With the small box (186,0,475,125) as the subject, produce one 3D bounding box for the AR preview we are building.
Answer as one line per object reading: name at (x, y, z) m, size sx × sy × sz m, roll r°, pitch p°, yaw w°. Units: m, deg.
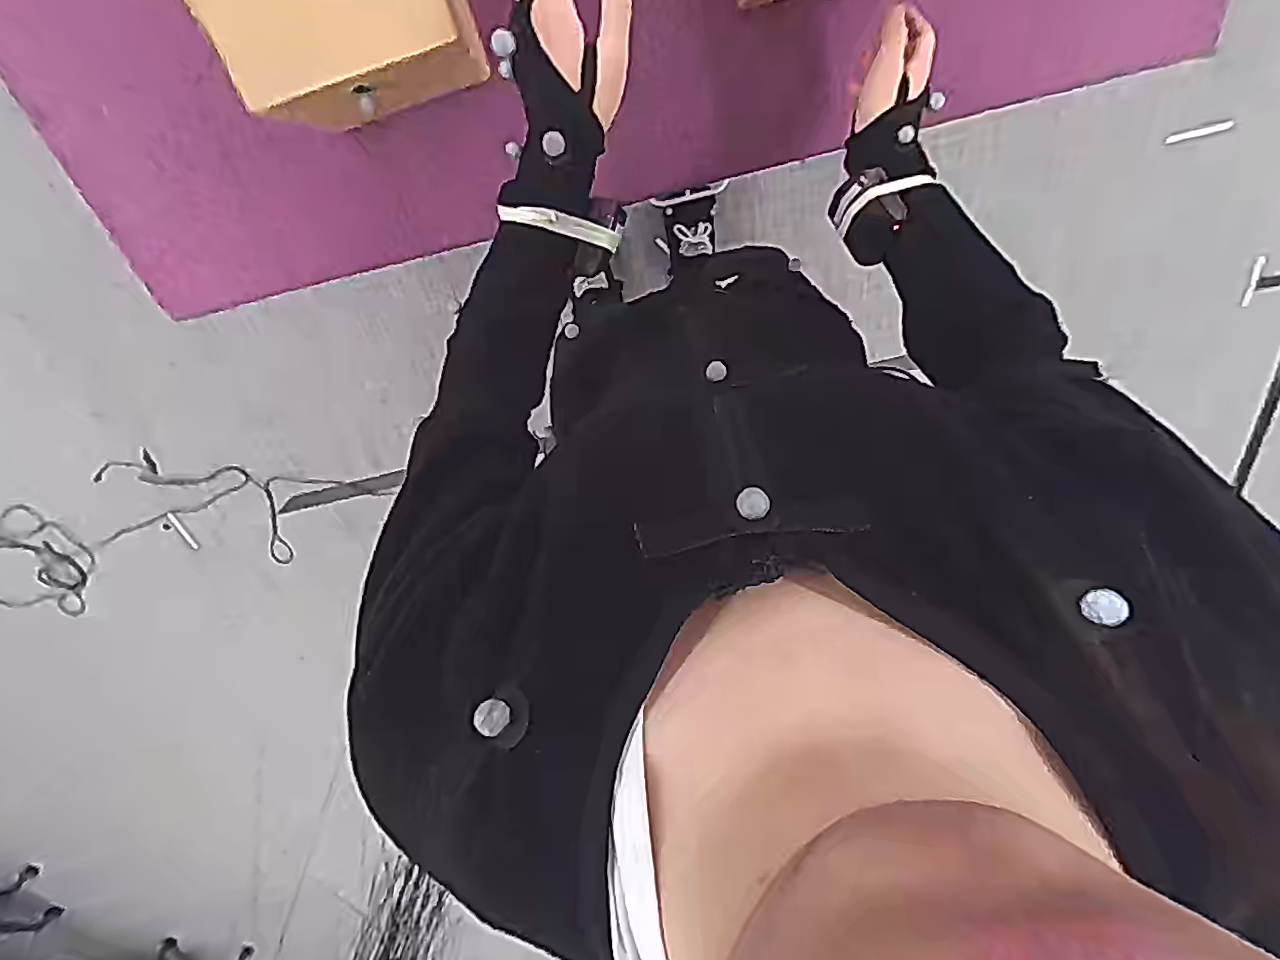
small box at (-0.251, -0.414, 0.444) m, size 0.179 × 0.176 × 0.168 m, roll -16°, pitch 120°, yaw 4°
